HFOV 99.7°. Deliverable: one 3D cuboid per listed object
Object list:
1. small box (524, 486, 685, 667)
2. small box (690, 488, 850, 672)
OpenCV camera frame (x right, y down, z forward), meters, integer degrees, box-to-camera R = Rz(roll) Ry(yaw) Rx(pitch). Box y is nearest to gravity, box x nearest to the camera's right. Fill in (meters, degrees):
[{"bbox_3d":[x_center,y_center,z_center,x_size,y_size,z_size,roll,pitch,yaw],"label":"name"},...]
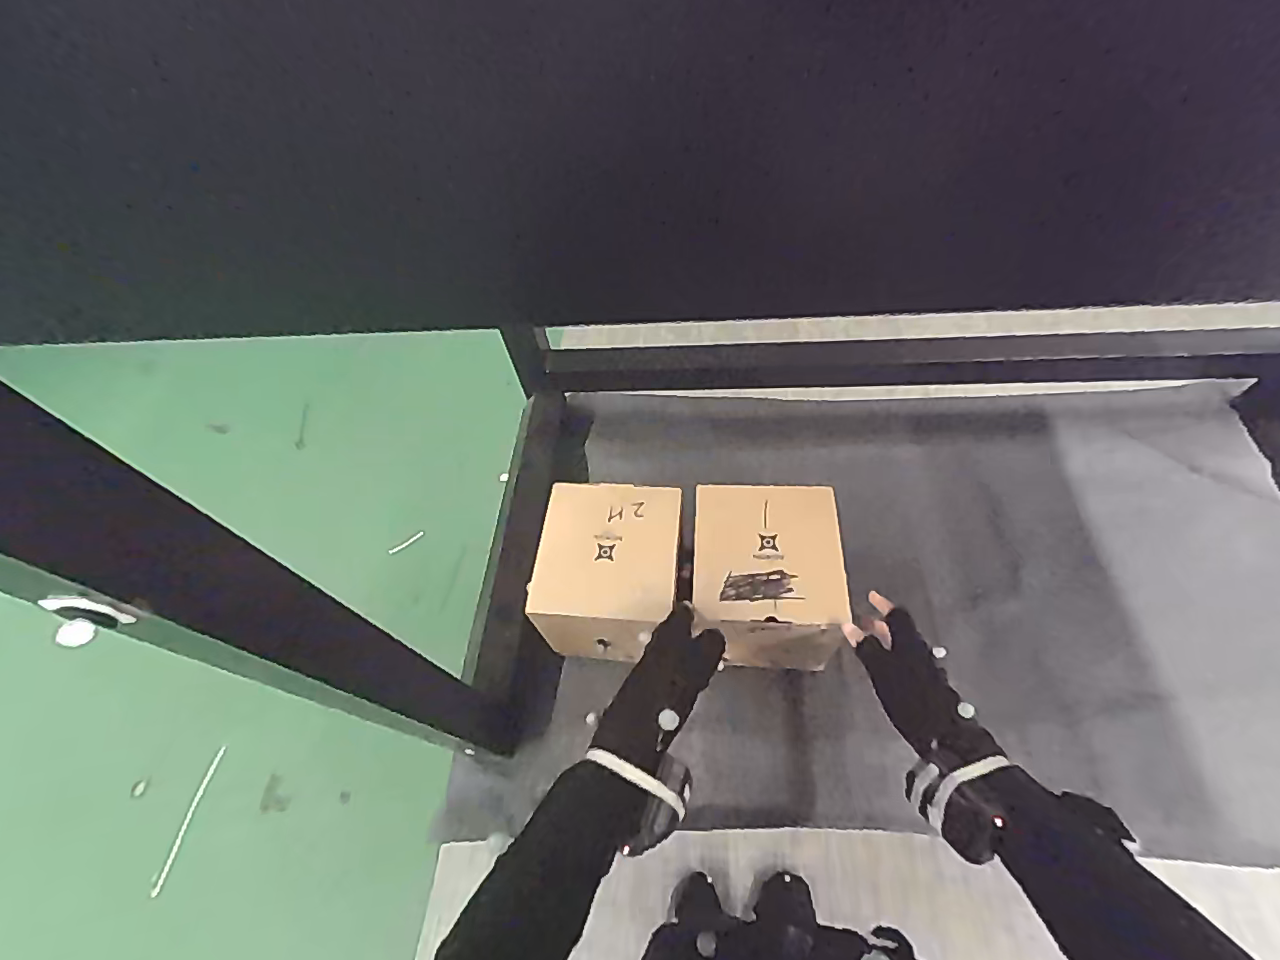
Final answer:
[{"bbox_3d":[-0.031,0.128,0.691,0.168,0.176,0.179,3,56,7],"label":"small box"},{"bbox_3d":[0.150,0.127,0.670,0.168,0.176,0.179,1,55,7],"label":"small box"}]
